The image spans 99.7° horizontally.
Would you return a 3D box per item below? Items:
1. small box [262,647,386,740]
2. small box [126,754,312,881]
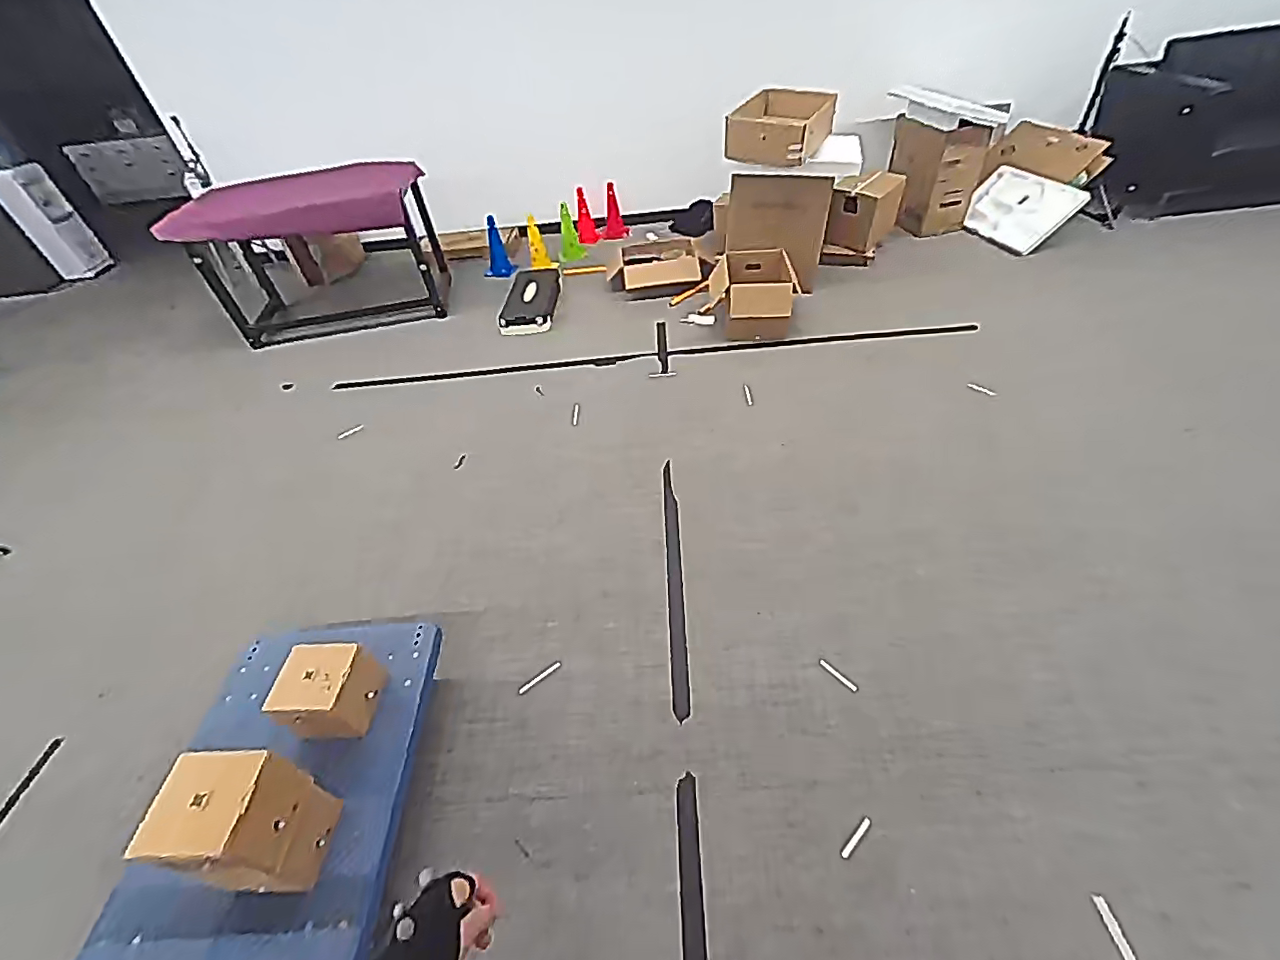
[{"bbox_3d":[-0.767,0.530,1.335,0.179,0.176,0.168,-3,45,5],"label":"small box"},{"bbox_3d":[-0.760,0.626,1.001,0.179,0.176,0.168,-3,44,2],"label":"small box"}]
